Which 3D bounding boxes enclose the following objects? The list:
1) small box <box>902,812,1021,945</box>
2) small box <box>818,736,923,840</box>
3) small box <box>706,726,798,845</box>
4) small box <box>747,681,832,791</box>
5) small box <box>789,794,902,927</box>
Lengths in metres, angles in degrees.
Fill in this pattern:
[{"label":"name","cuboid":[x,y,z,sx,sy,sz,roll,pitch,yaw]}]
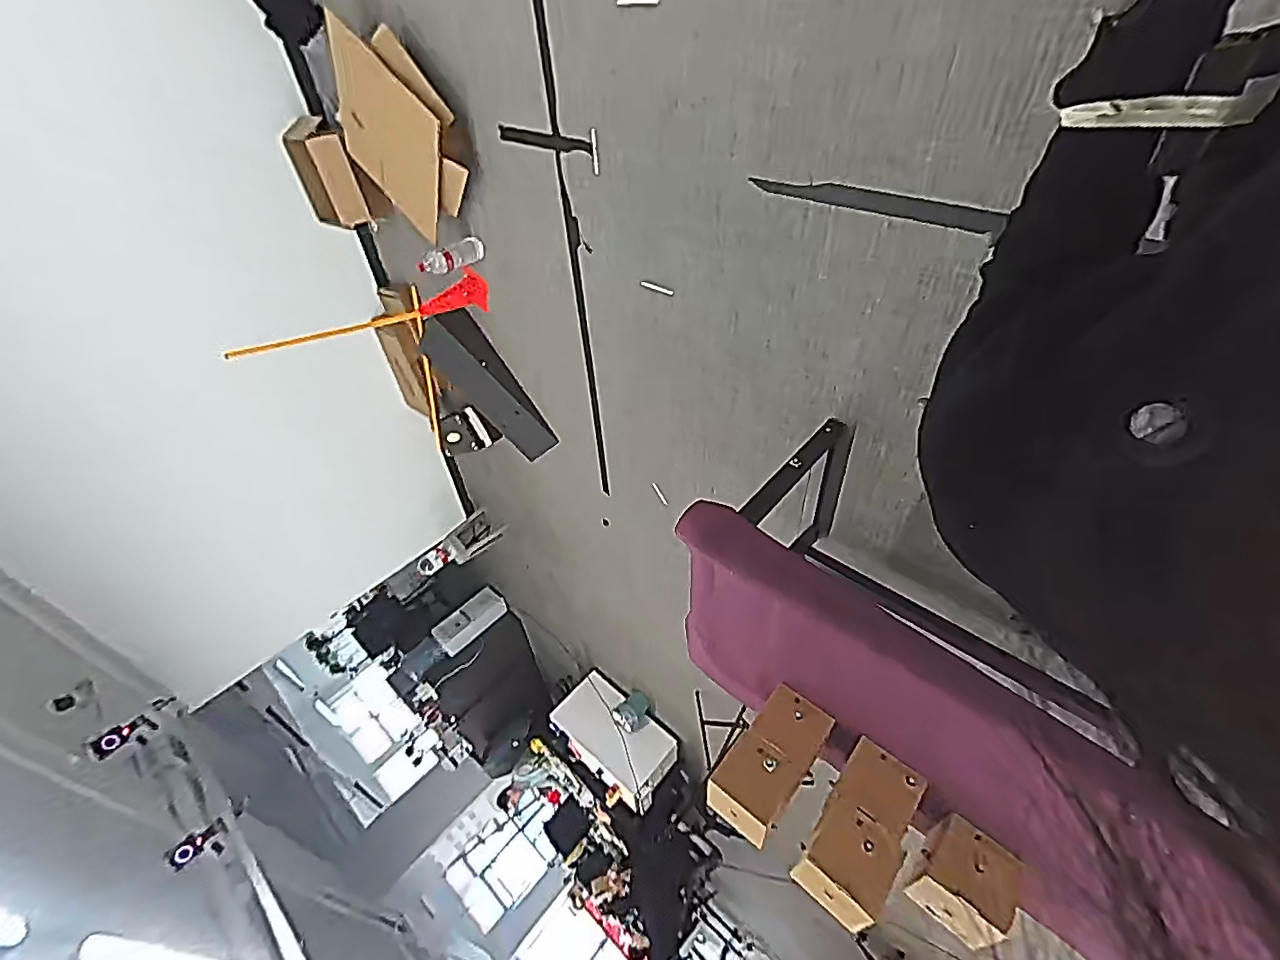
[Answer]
[{"label":"small box","cuboid":[0.744,0.912,1.248,0.168,0.176,0.179,31,141,29]},{"label":"small box","cuboid":[0.568,0.772,1.331,0.168,0.176,0.179,30,143,30]},{"label":"small box","cuboid":[0.285,0.774,1.380,0.168,0.176,0.179,27,140,32]},{"label":"small box","cuboid":[0.396,0.687,1.460,0.168,0.176,0.179,30,141,30]},{"label":"small box","cuboid":[0.471,0.868,1.241,0.168,0.176,0.179,32,142,28]}]
